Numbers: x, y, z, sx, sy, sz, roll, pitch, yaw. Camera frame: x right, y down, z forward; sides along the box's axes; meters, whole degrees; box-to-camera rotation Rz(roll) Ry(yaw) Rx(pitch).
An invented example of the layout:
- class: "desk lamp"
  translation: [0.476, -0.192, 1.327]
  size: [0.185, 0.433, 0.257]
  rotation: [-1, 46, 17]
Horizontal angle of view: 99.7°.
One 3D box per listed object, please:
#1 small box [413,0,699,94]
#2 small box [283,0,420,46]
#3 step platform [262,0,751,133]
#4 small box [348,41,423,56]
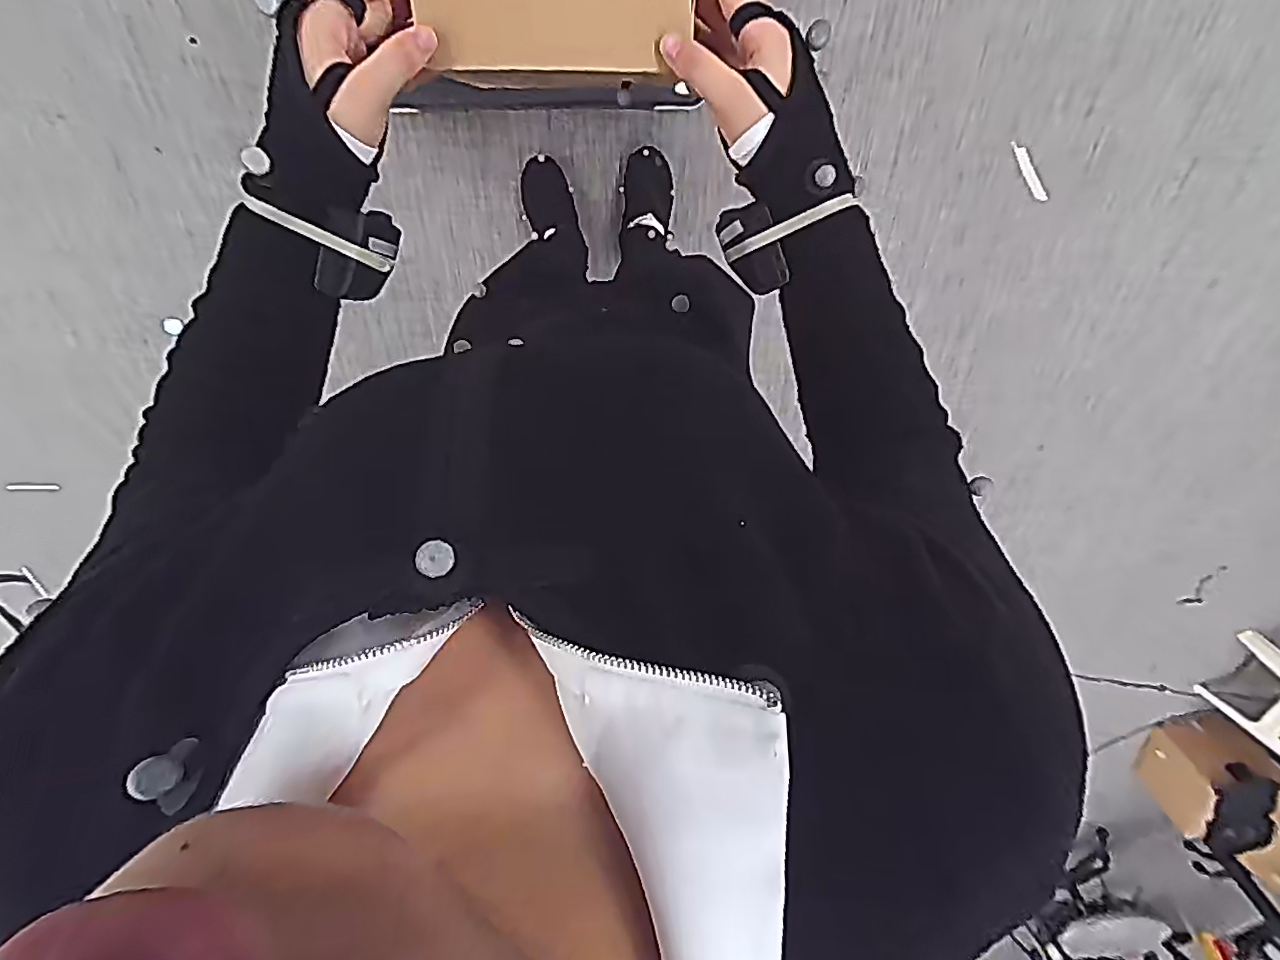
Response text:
- class: "small box"
  translation: [-0.054, -0.373, 0.371]
  size: [0.179, 0.176, 0.168]
  rotation: [-1, 122, -1]
- class: "small box"
  translation: [-0.349, -0.671, 0.681]
  size: [0.168, 0.176, 0.179]
  rotation: [-2, 124, 0]
- class: "step platform"
  translation: [-0.187, -0.701, 0.822]
  size: [0.684, 0.204, 0.286]
  rotation: [-1, 123, -1]
- class: "small box"
  translation: [-0.352, -0.757, 0.821]
  size: [0.168, 0.176, 0.179]
  rotation: [-1, 124, -1]
